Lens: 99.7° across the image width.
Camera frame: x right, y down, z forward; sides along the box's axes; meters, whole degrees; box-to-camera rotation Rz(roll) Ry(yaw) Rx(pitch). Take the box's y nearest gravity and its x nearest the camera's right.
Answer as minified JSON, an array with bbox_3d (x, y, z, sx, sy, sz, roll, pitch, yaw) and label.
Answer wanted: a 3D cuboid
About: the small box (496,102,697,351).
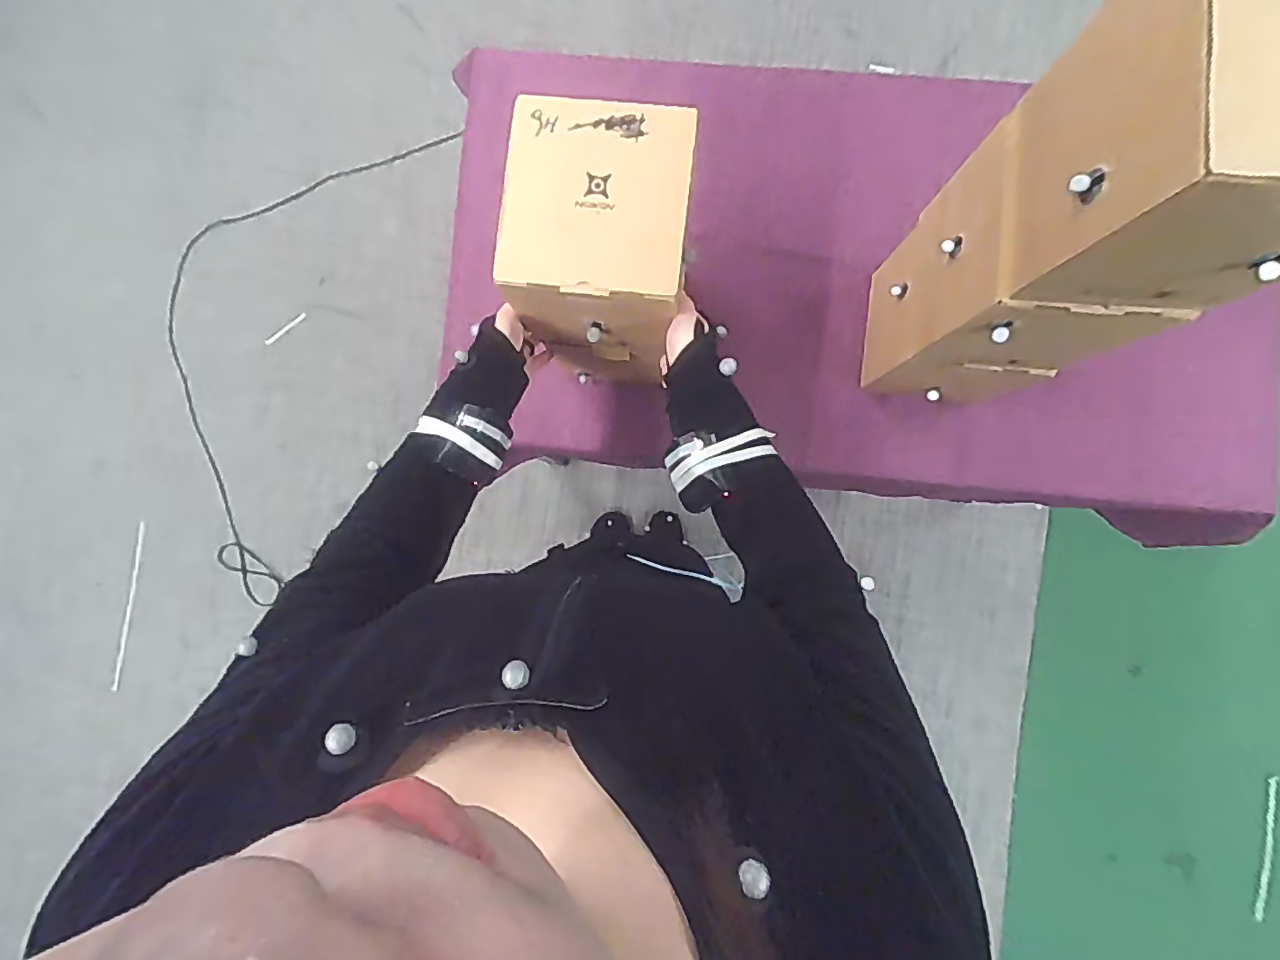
[{"bbox_3d":[-0.035,-0.241,0.557,0.168,0.176,0.179,6,89,3],"label":"small box"}]

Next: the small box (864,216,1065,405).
[{"bbox_3d":[0.408,-0.208,0.704,0.168,0.176,0.179,8,88,3],"label":"small box"}]

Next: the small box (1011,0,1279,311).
[{"bbox_3d":[0.395,-0.233,0.377,0.168,0.176,0.179,5,86,2],"label":"small box"}]

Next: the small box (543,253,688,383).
[{"bbox_3d":[-0.024,-0.235,0.723,0.168,0.176,0.179,5,86,2],"label":"small box"}]
